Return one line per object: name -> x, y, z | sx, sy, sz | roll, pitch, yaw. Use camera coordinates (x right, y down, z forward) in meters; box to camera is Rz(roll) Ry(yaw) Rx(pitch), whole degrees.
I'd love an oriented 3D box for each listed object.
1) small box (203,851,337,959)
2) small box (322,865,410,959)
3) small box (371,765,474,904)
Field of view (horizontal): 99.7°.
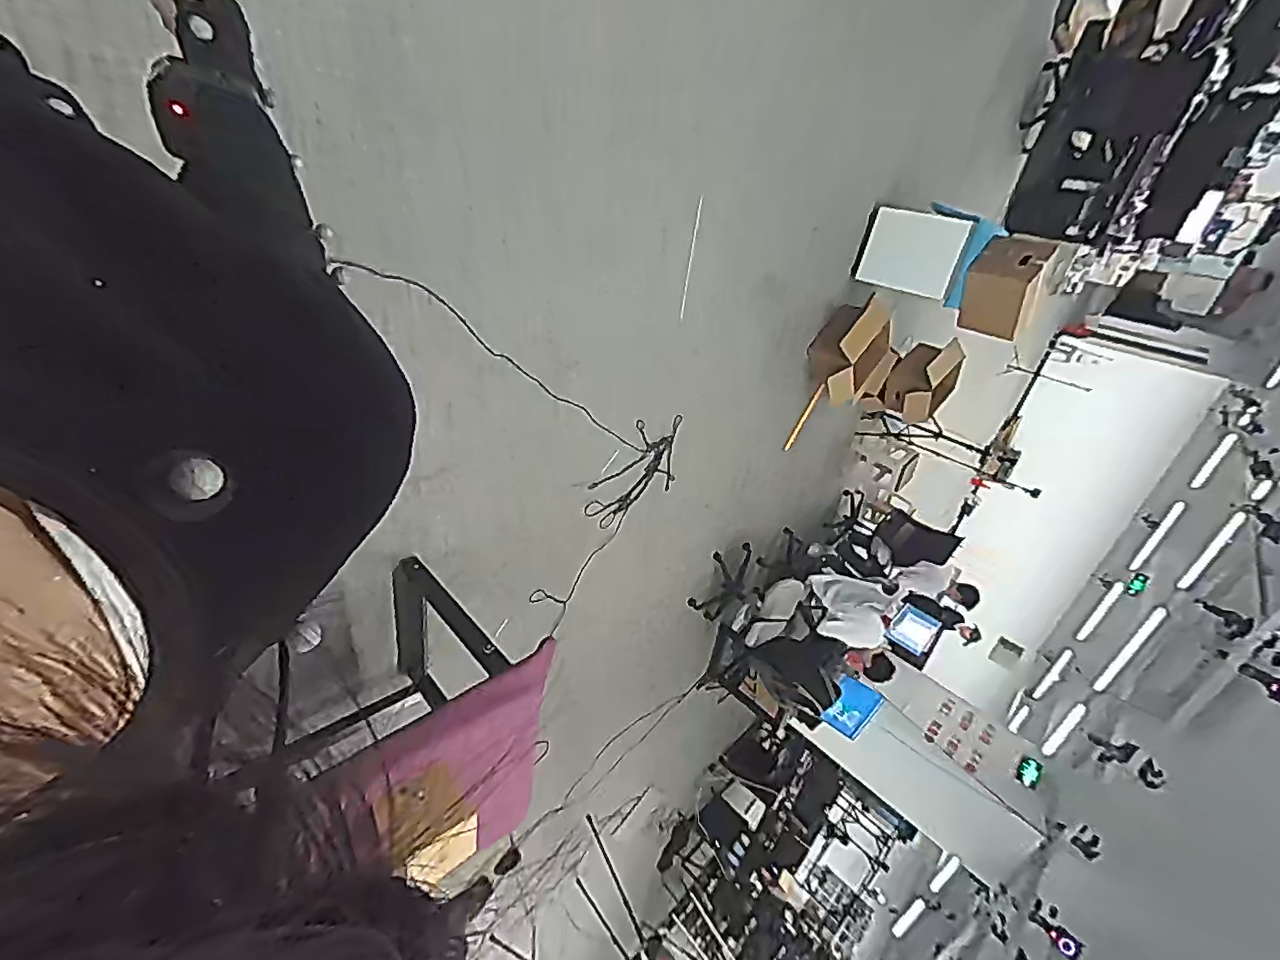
small box -> -0.709, 0.866, 1.040 | 0.168, 0.176, 0.179 | -18, 130, -43
small box -> -0.656, 1.039, 1.244 | 0.168, 0.176, 0.179 | -7, 121, -48
small box -> -0.503, 0.808, 1.249 | 0.168, 0.176, 0.179 | -19, 131, -43
